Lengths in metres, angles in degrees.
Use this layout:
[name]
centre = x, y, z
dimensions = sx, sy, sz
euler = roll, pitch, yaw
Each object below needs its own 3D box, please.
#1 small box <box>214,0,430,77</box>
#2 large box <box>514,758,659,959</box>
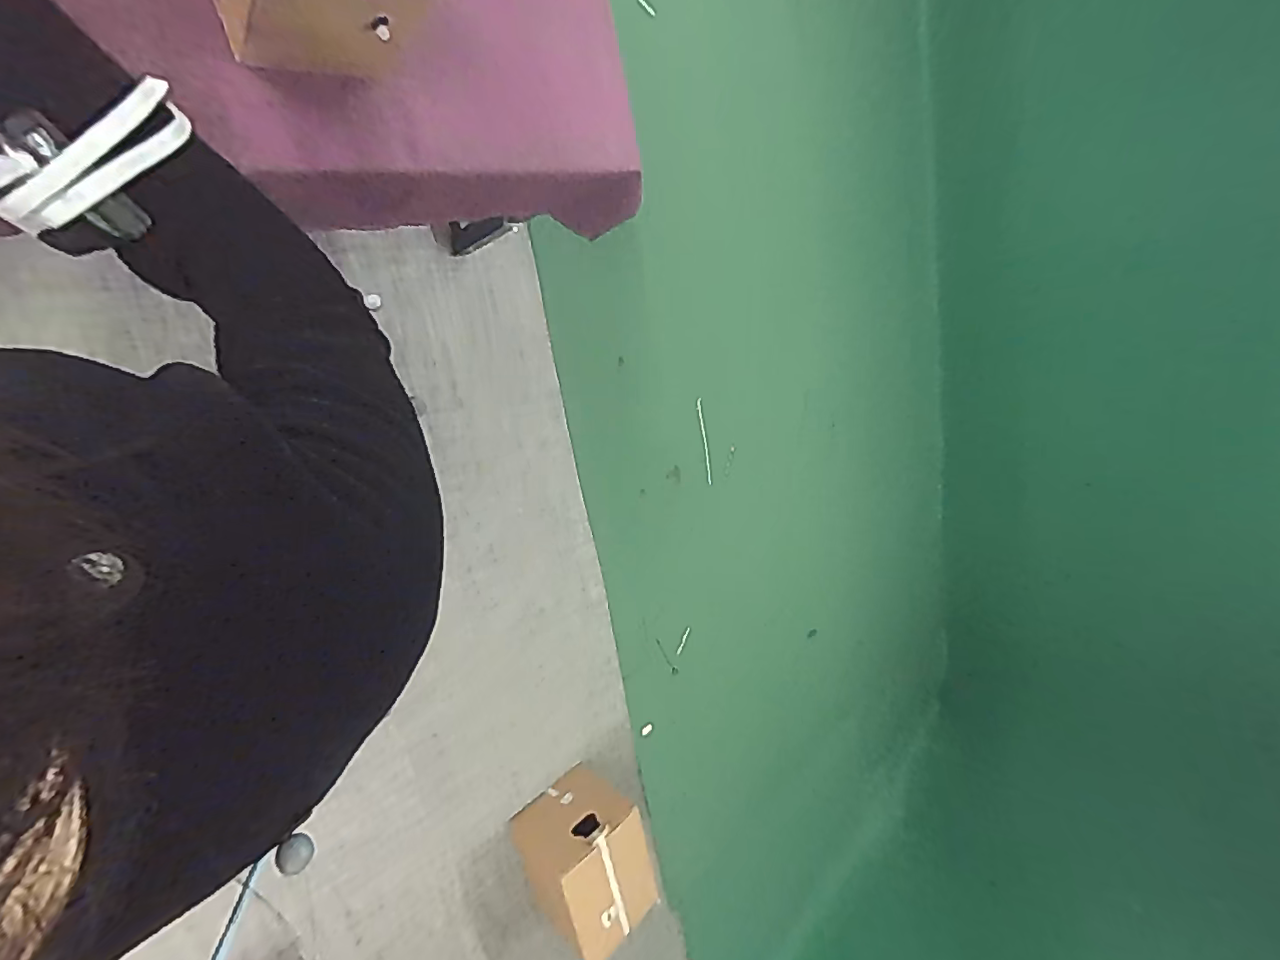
[small box]
centre = -0.369, -0.582, 0.598
dimensions = 0.179, 0.176, 0.168
euler = -26, 110, -37
[large box]
centre = -0.179, 1.255, 1.831
dimensions = 0.320, 0.320, 0.408
euler = -24, 111, -38
